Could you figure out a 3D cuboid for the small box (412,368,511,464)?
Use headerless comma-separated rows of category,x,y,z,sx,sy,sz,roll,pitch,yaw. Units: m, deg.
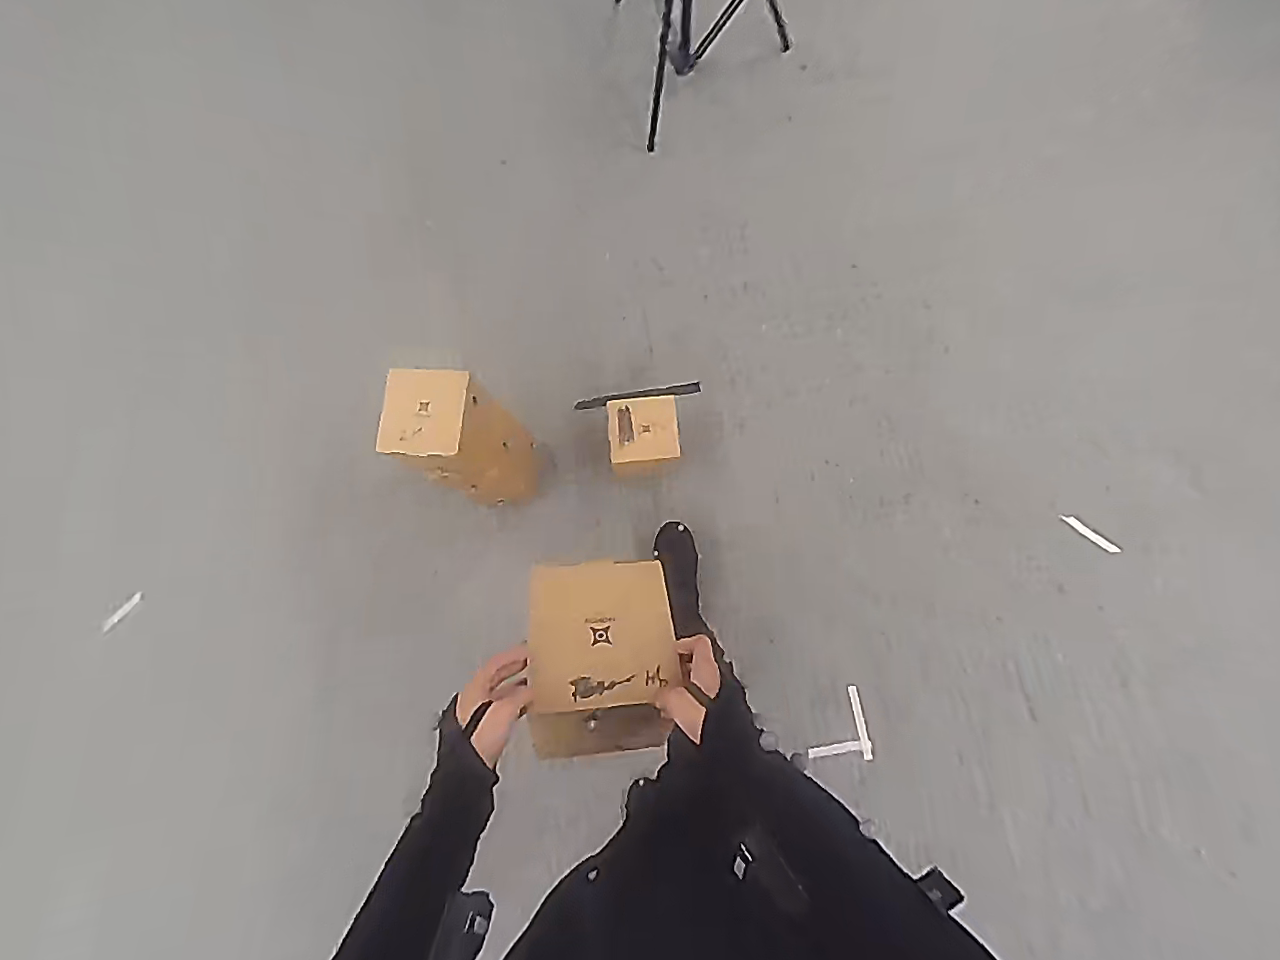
small box,-0.399,-0.141,1.236,0.168,0.176,0.179,-2,79,3

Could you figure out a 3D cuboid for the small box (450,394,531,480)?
small box,-0.382,-0.107,1.393,0.168,0.176,0.179,-5,79,2

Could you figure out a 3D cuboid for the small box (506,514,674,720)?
small box,-0.065,0.159,0.635,0.168,0.176,0.179,-2,48,-9
